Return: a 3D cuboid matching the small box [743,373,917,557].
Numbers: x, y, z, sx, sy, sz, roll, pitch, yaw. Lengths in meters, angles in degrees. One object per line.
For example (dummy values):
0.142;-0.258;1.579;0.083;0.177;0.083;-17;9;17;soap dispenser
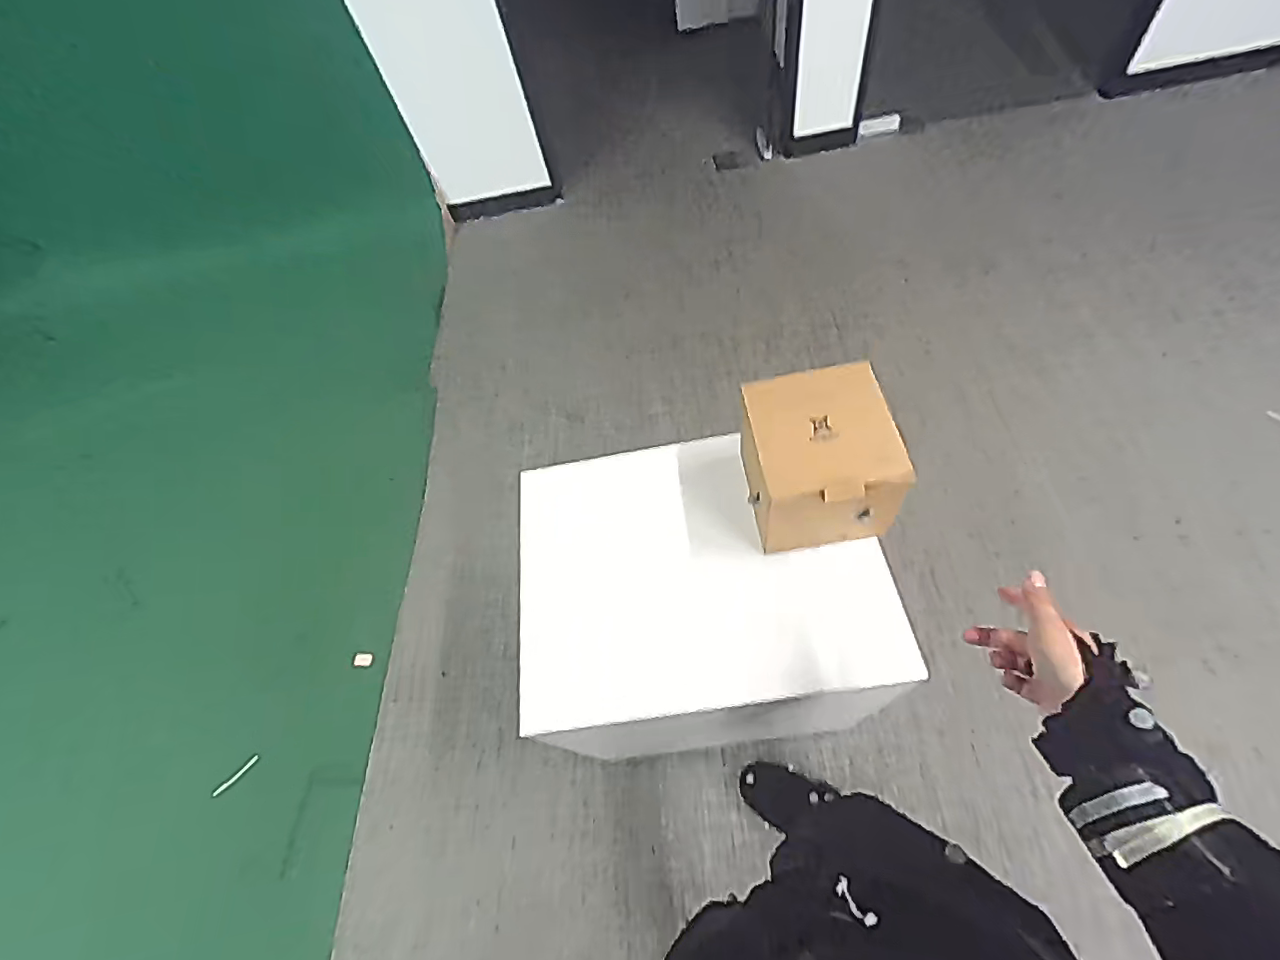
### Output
0.234;-0.009;0.715;0.168;0.176;0.179;-10;58;5;small box
